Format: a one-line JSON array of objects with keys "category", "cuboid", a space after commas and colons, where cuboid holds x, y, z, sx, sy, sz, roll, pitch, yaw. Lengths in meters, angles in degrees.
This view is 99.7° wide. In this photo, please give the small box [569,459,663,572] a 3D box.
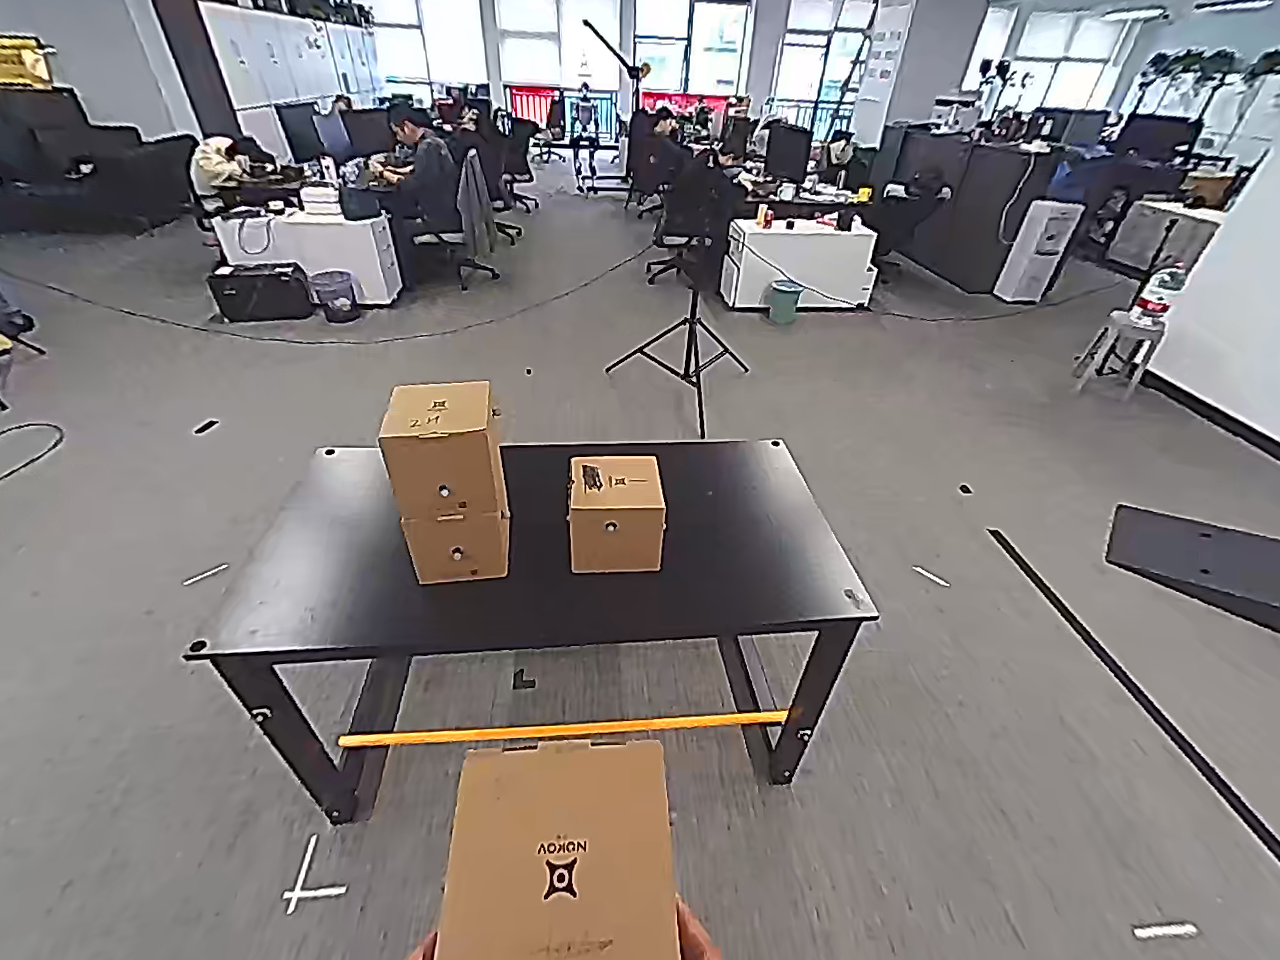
[{"category": "small box", "cuboid": [-0.051, 0.073, 1.095, 0.179, 0.176, 0.168, -1, 37, -5]}]

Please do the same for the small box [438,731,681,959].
[{"category": "small box", "cuboid": [-0.060, 0.337, 0.461, 0.168, 0.176, 0.179, -2, 46, -4]}]

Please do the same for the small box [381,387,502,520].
[{"category": "small box", "cuboid": [-0.343, -0.050, 0.968, 0.168, 0.176, 0.179, -6, 38, -10]}]

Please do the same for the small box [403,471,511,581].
[{"category": "small box", "cuboid": [-0.349, 0.085, 1.065, 0.168, 0.176, 0.179, -5, 38, -9]}]
